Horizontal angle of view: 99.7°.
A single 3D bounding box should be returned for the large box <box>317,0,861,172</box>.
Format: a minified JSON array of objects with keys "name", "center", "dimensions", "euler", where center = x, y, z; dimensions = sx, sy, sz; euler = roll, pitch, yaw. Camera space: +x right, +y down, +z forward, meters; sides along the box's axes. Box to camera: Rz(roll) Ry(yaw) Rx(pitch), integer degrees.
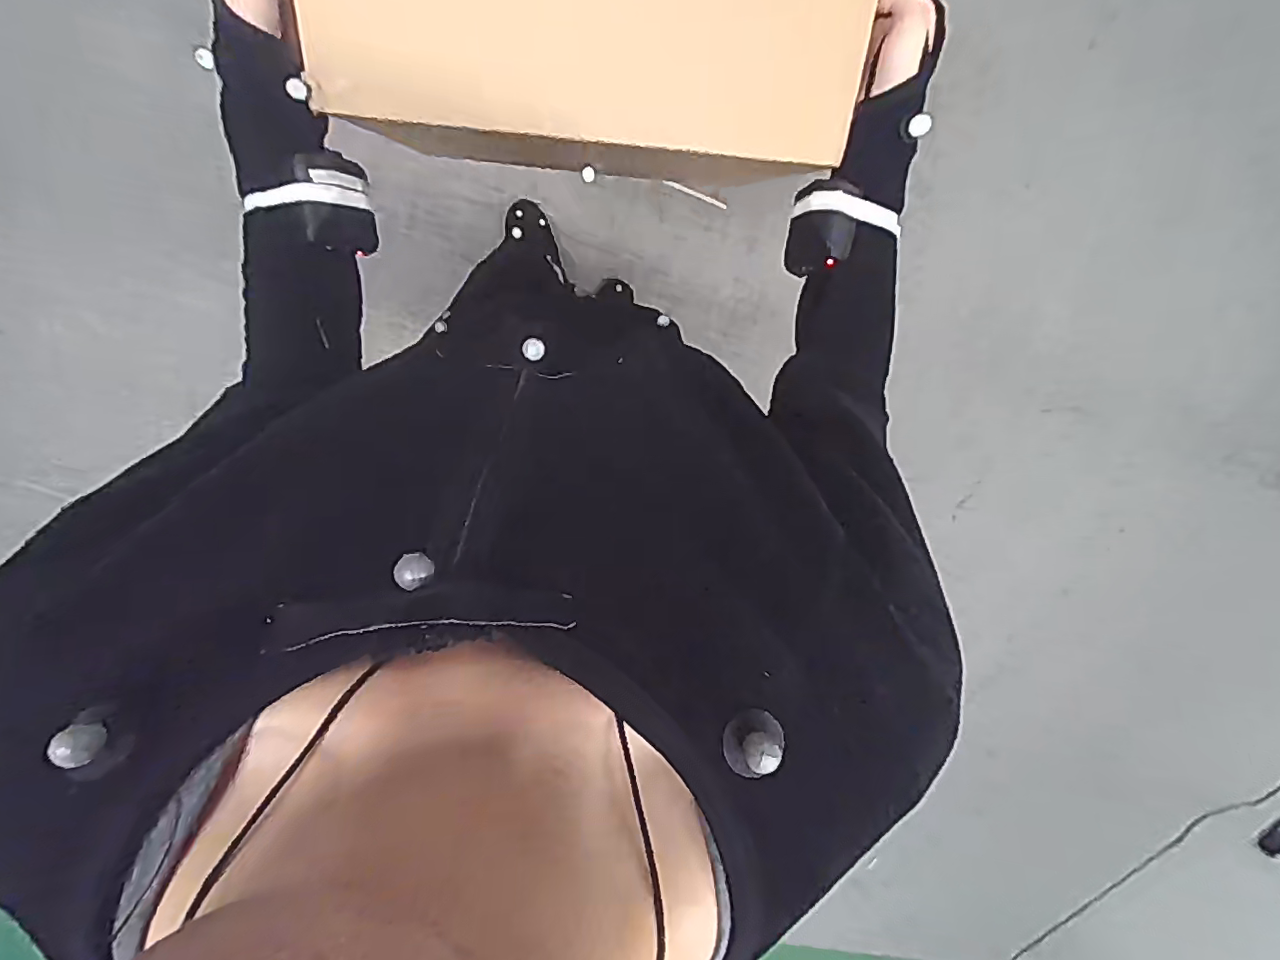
[{"name":"large box","center":[-0.039,-0.476,0.497],"dimensions":[0.408,0.320,0.320],"euler":[1,115,-7]}]
